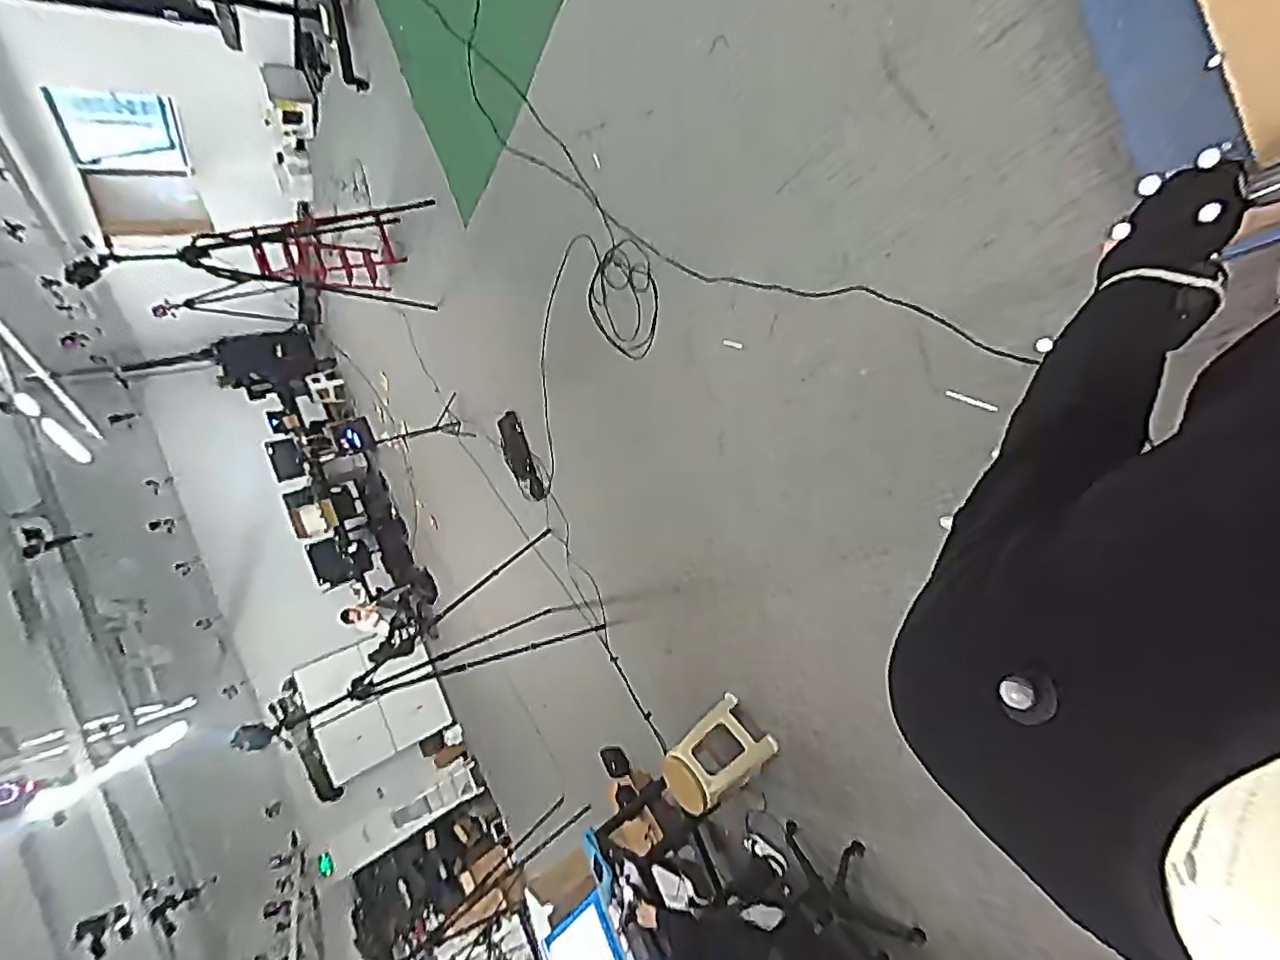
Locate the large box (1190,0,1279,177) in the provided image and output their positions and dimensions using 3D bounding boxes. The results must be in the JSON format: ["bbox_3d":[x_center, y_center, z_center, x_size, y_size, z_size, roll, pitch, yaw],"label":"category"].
[{"bbox_3d":[0.978,-0.674,0.701,0.320,0.320,0.408,-20,90,54],"label":"large box"}]
